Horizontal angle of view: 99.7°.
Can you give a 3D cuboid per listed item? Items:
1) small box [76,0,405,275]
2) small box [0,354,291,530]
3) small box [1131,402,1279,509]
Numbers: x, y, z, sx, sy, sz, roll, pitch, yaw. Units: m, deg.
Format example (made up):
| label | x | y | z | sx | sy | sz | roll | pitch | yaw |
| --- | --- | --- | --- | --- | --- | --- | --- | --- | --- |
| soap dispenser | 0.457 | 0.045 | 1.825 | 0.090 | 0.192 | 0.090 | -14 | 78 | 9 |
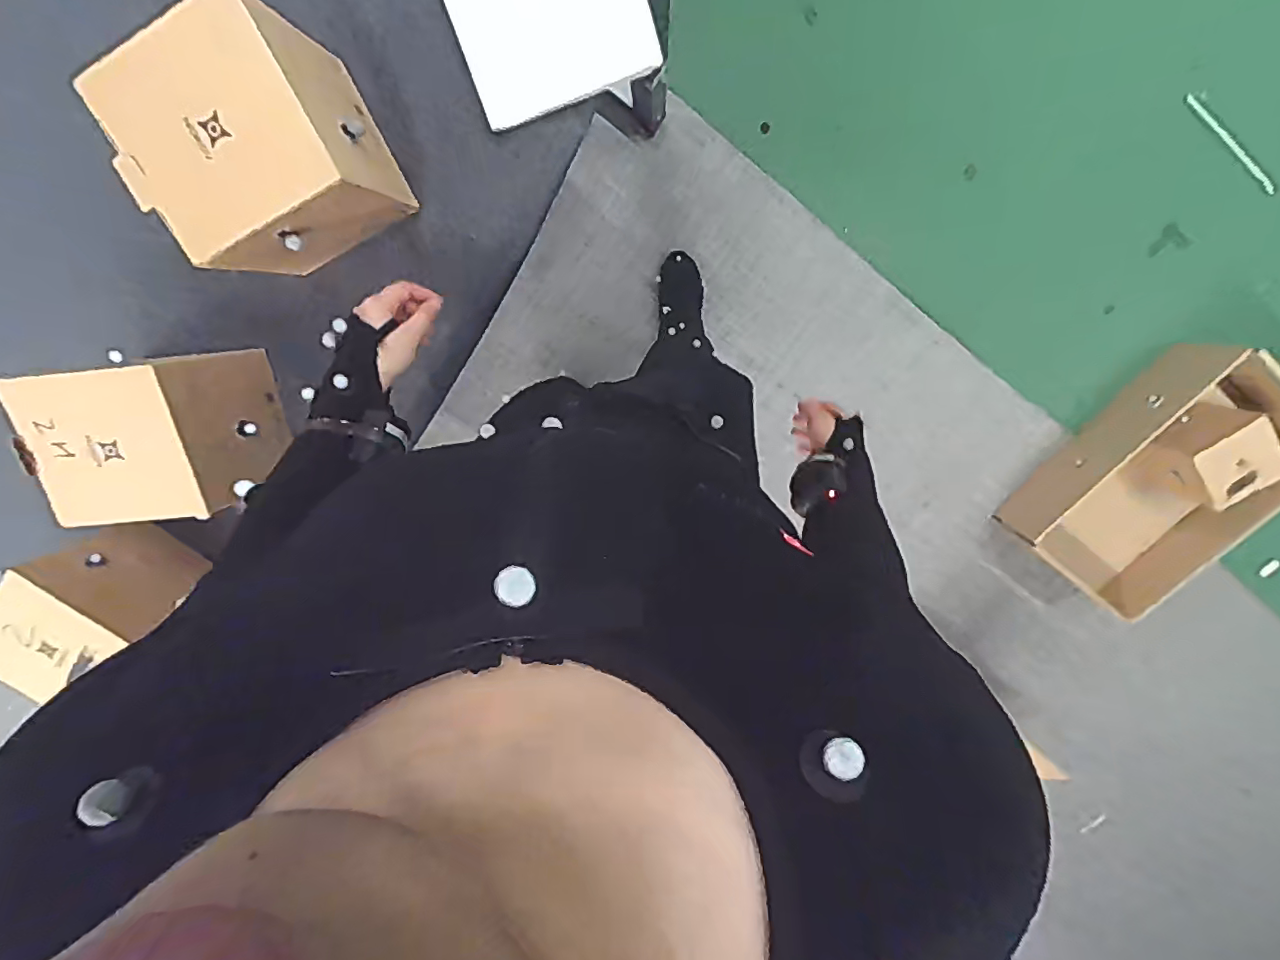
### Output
| label | x | y | z | sx | sy | sz | roll | pitch | yaw |
| --- | --- | --- | --- | --- | --- | --- | --- | --- | --- |
| small box | -0.368 | -0.323 | 0.544 | 0.179 | 0.176 | 0.168 | -23 | 107 | 11 |
| small box | -0.557 | -0.054 | 0.644 | 0.179 | 0.176 | 0.168 | -4 | 109 | 3 |
| small box | 1.374 | -0.066 | 1.322 | 0.168 | 0.176 | 0.179 | -36 | 106 | 13 |
